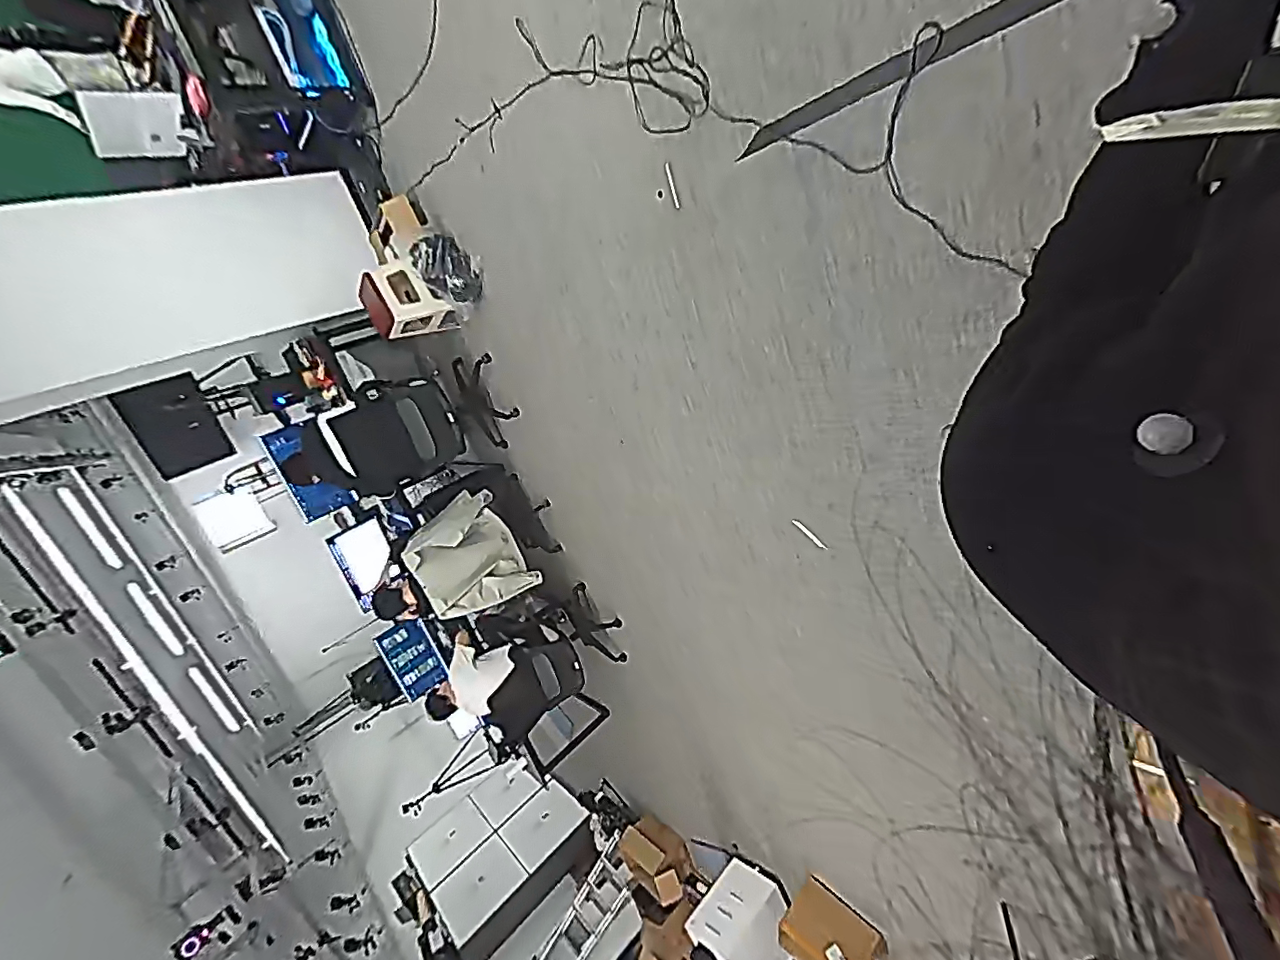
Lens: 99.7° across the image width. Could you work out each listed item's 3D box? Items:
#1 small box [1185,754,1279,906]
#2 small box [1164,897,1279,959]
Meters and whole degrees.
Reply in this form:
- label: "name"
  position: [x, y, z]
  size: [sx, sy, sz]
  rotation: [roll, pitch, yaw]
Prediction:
- label: "small box"
  position: [1.187, 0.672, 1.042]
  size: [0.179, 0.176, 0.168]
  rotation: [5, 119, 51]
- label: "small box"
  position: [0.956, 0.818, 0.857]
  size: [0.179, 0.176, 0.168]
  rotation: [9, 123, 48]
